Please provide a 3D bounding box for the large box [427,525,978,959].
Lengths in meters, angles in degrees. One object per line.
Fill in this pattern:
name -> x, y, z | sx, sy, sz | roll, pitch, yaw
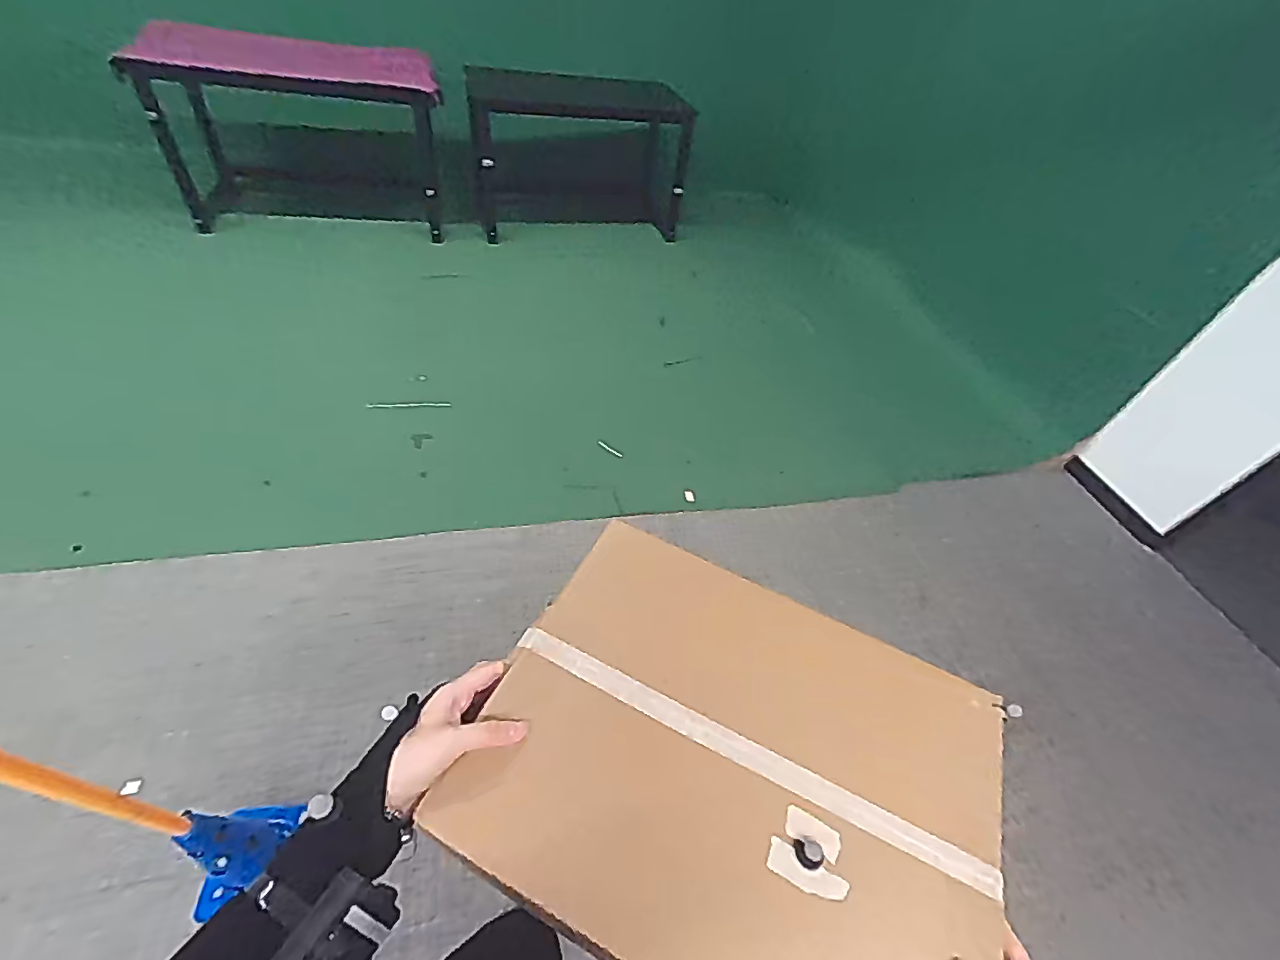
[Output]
large box -> 0.059, 0.318, 0.566 | 0.408, 0.320, 0.320 | 24, 50, 11

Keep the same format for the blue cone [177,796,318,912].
blue cone -> -0.791, 0.692, 1.044 | 0.193, 0.380, 0.192 | 3, 46, -9
